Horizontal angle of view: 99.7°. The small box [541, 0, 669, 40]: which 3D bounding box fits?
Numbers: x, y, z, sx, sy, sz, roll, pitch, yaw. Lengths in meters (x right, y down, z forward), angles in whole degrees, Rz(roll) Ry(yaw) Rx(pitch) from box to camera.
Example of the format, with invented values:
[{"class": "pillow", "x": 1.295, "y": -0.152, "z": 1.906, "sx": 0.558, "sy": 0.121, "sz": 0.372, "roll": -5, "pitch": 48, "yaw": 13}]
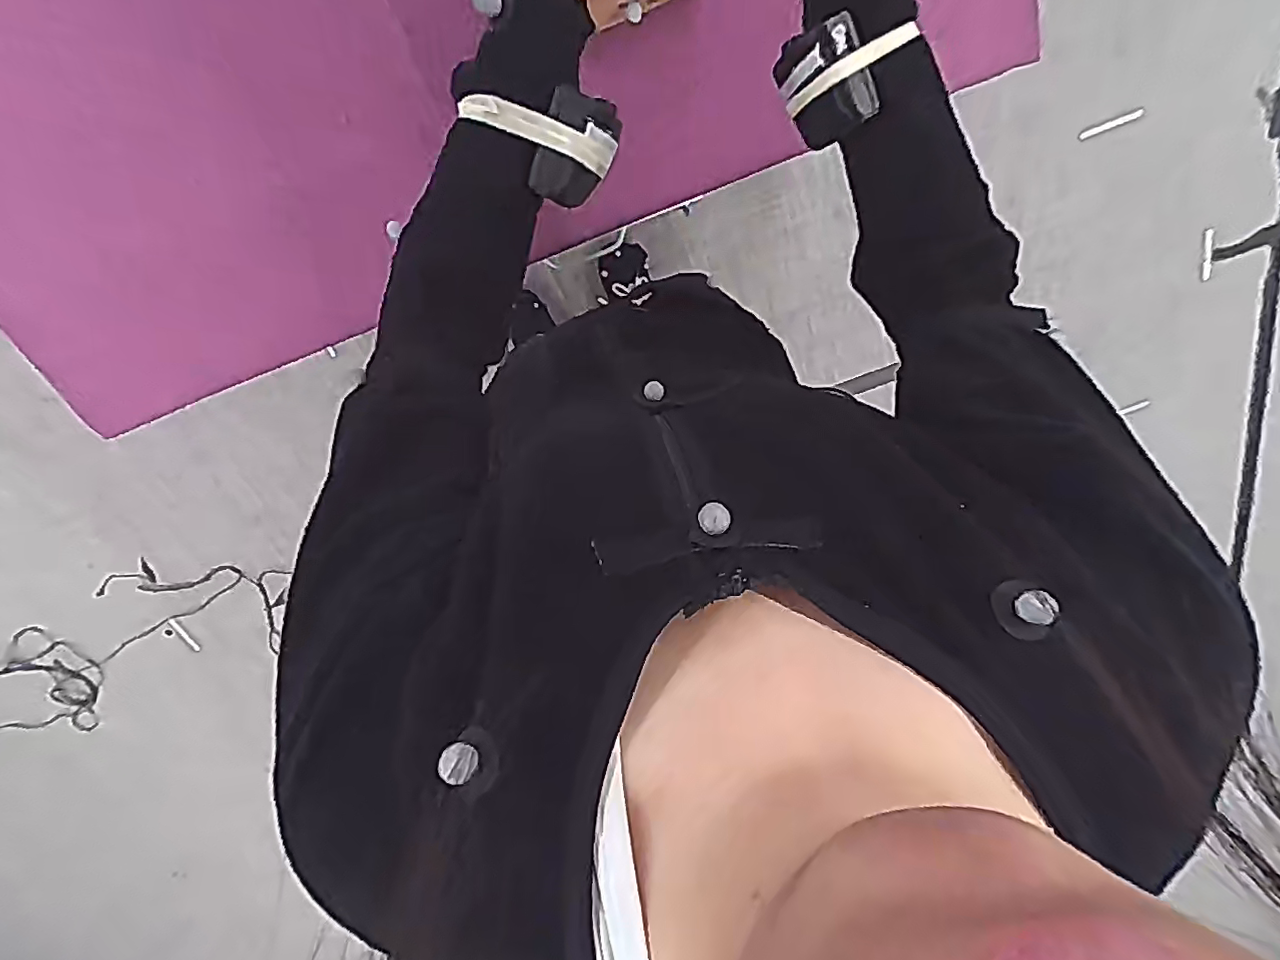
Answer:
[{"class": "small box", "x": -0.033, "y": -0.522, "z": 0.452, "sx": 0.168, "sy": 0.176, "sz": 0.179, "roll": -21, "pitch": 115, "yaw": 4}]
